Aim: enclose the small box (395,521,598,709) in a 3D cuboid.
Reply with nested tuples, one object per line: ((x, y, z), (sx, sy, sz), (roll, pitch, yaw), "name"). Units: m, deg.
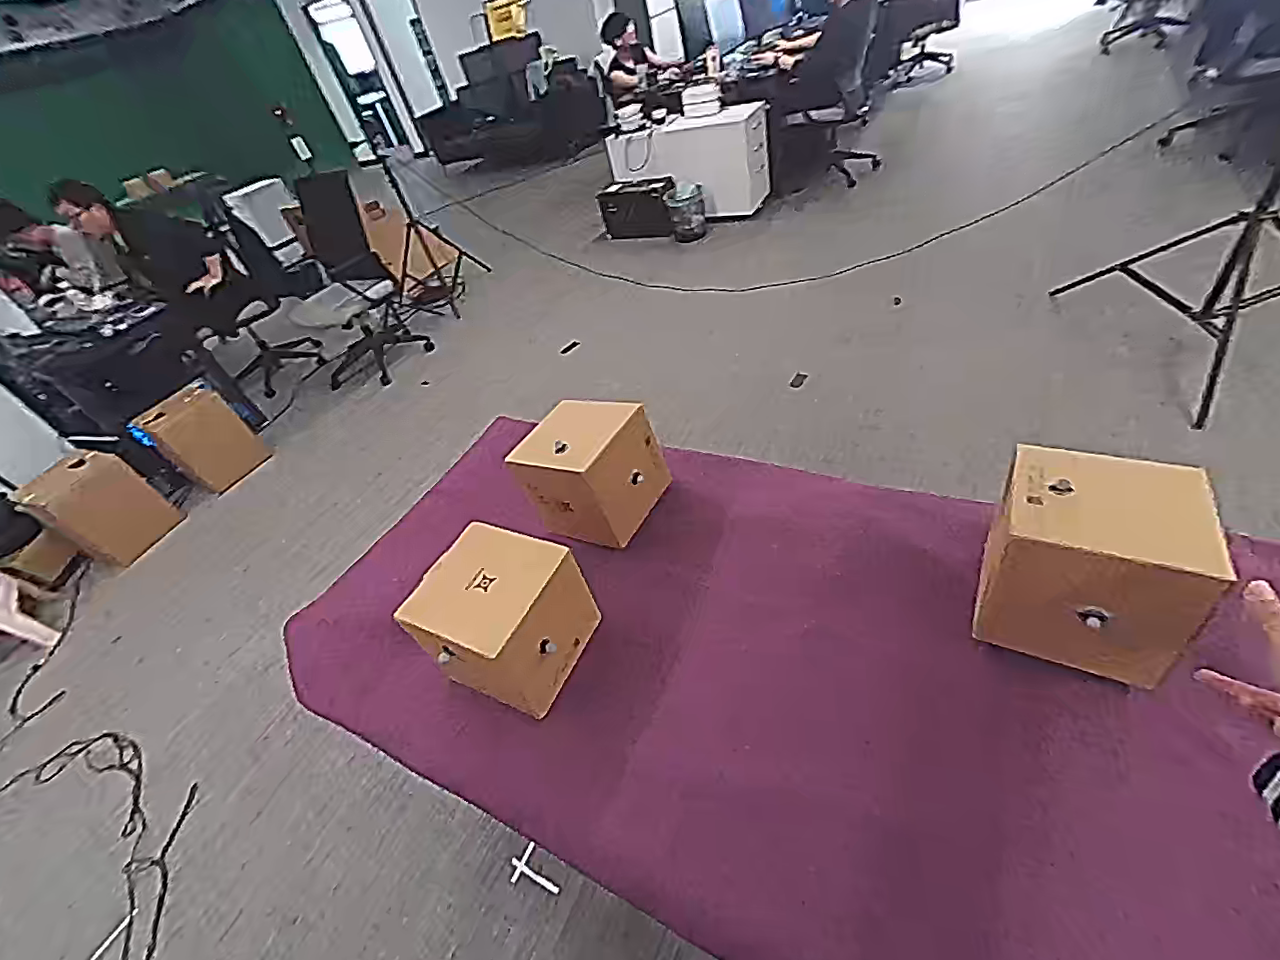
((-0.180, 0.184, 0.736), (0.179, 0.176, 0.168), (11, 49, 28), "small box")

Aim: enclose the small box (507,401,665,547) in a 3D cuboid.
((-0.077, -0.017, 0.894), (0.179, 0.168, 0.176), (9, 47, 36), "small box")
